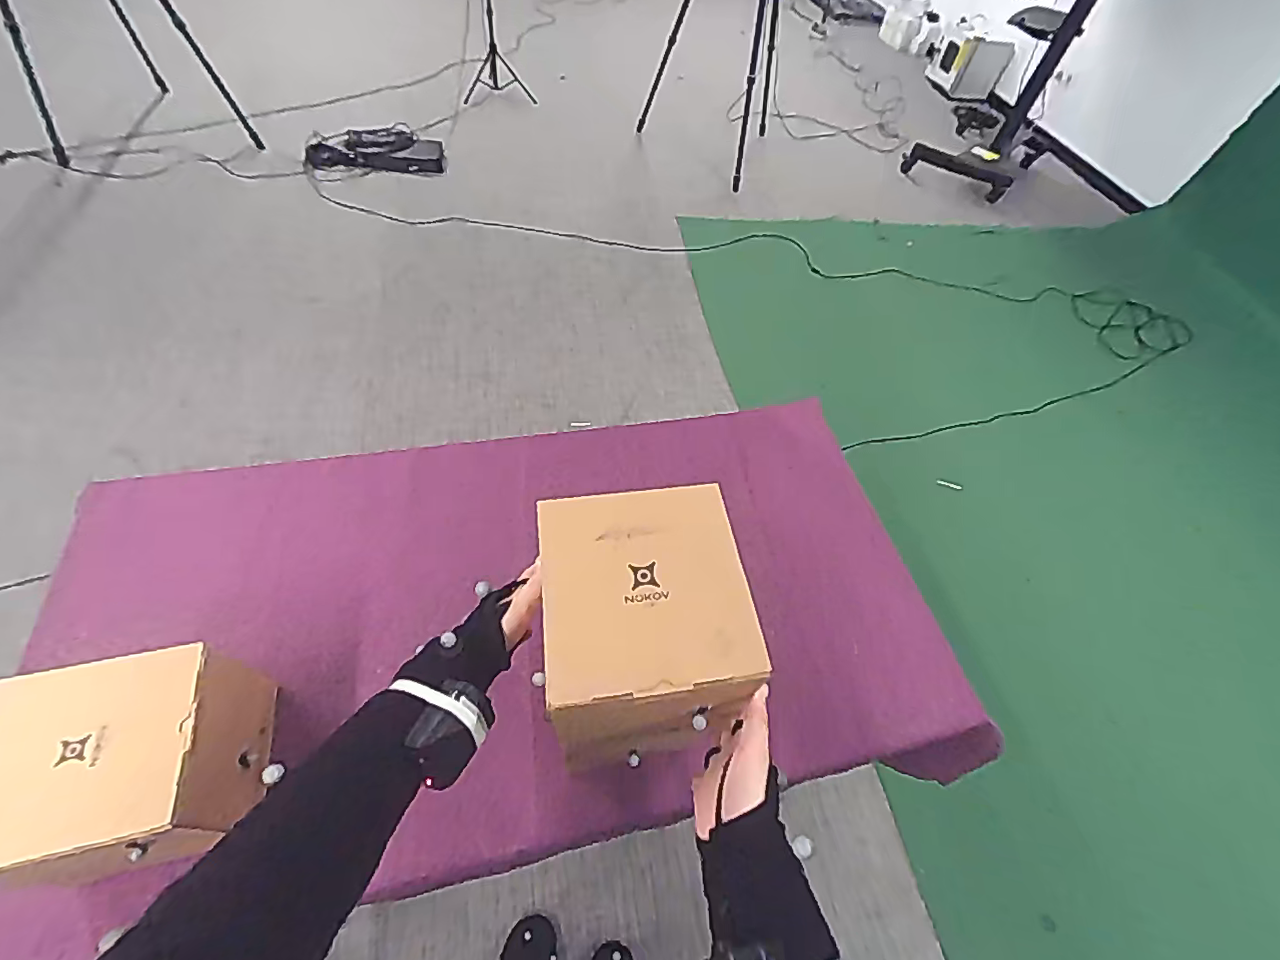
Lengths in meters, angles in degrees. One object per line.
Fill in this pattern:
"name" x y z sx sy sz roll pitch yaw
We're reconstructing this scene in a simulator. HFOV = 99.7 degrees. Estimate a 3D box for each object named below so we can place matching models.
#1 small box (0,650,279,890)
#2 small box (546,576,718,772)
"small box" -0.509 0.298 0.553 0.179 0.176 0.168 -9 55 -14
"small box" -0.020 0.240 0.654 0.168 0.176 0.179 -6 54 -12
